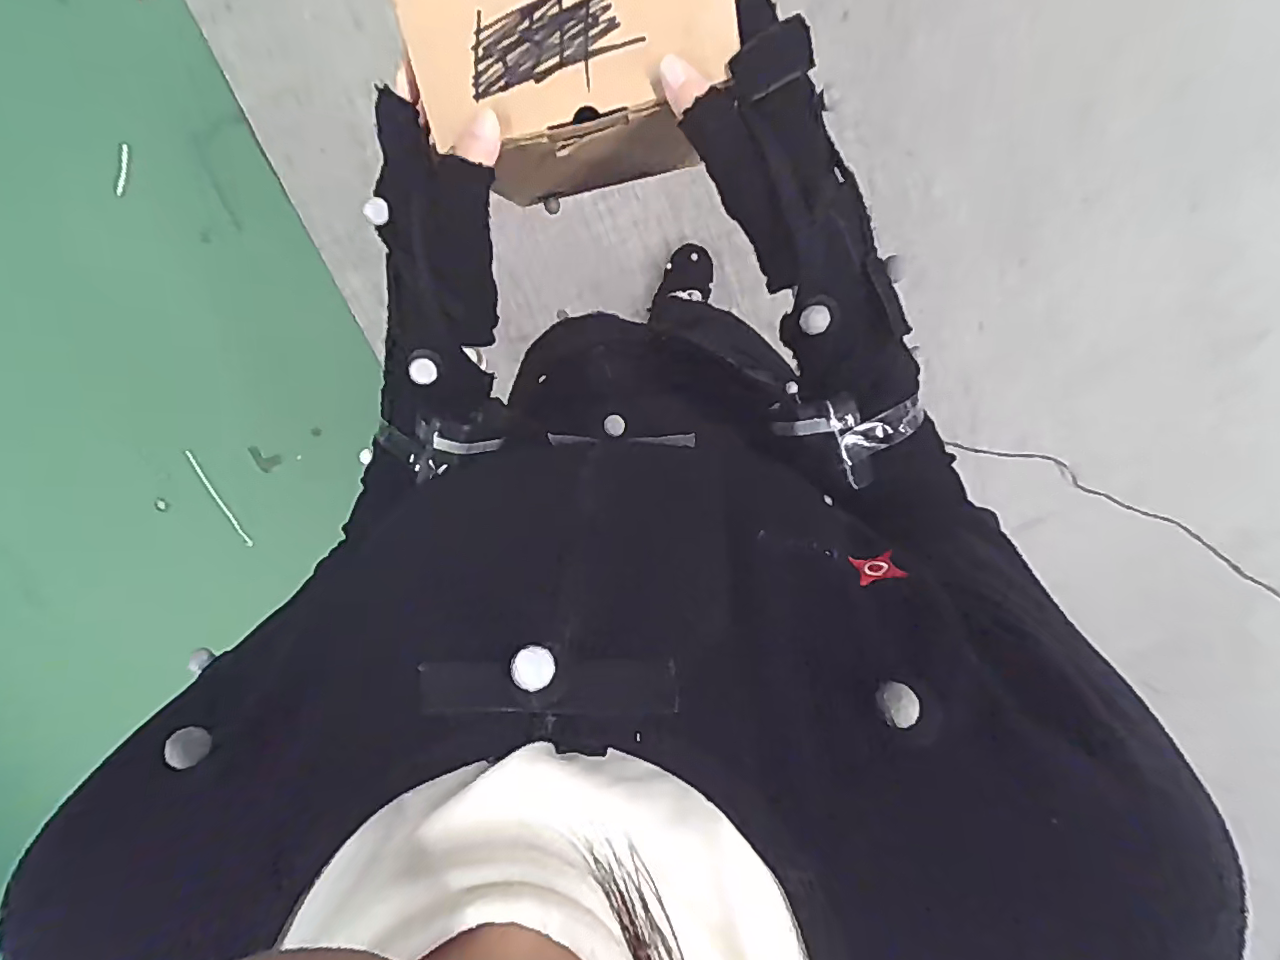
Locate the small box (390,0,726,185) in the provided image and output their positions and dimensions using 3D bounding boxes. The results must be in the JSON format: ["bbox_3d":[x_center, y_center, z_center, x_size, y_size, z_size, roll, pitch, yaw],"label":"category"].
[{"bbox_3d":[-0.045,-0.299,0.331,0.168,0.176,0.179,-10,107,7],"label":"small box"}]
